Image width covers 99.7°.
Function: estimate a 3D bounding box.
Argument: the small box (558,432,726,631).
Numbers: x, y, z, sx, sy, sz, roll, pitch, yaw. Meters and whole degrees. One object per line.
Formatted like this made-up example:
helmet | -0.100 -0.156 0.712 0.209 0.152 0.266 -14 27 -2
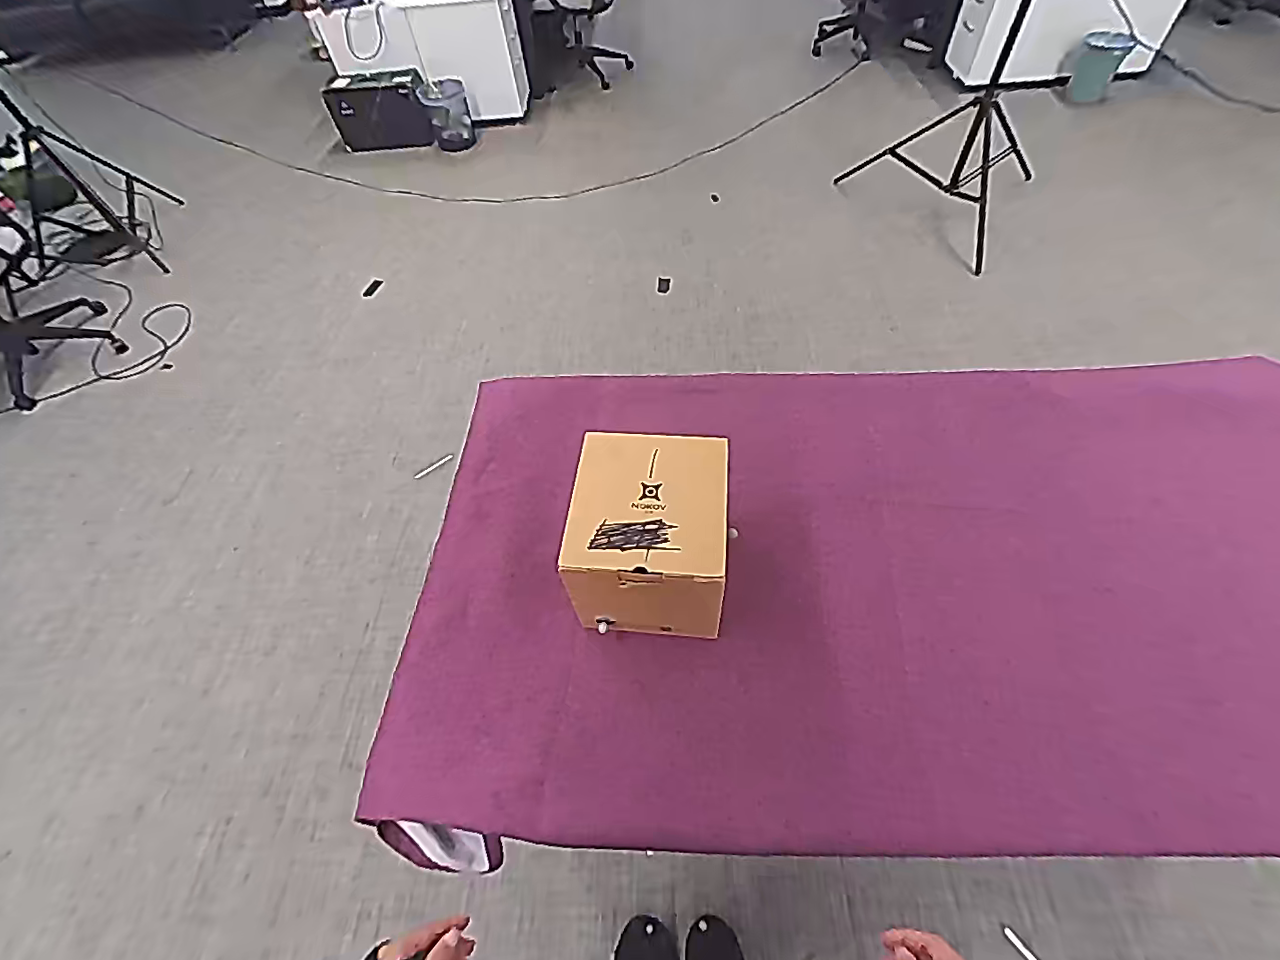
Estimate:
small box | 0.013 0.065 0.638 0.168 0.176 0.179 3 54 6
